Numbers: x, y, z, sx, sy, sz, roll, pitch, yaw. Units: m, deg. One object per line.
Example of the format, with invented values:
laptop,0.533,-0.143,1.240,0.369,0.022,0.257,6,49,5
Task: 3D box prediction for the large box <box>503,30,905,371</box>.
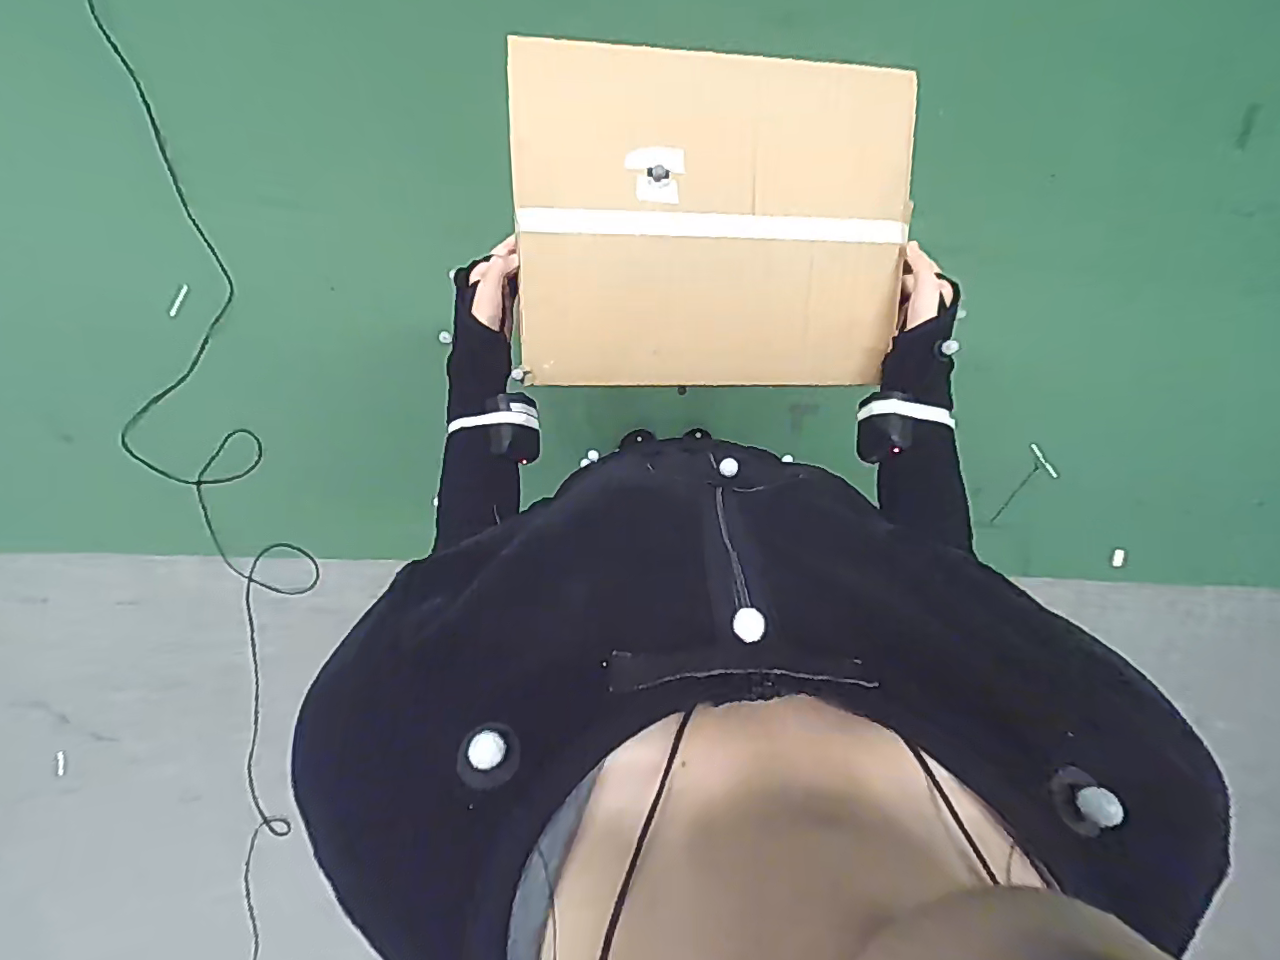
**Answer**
large box,0.054,-0.309,0.698,0.408,0.320,0.320,-1,103,-7
